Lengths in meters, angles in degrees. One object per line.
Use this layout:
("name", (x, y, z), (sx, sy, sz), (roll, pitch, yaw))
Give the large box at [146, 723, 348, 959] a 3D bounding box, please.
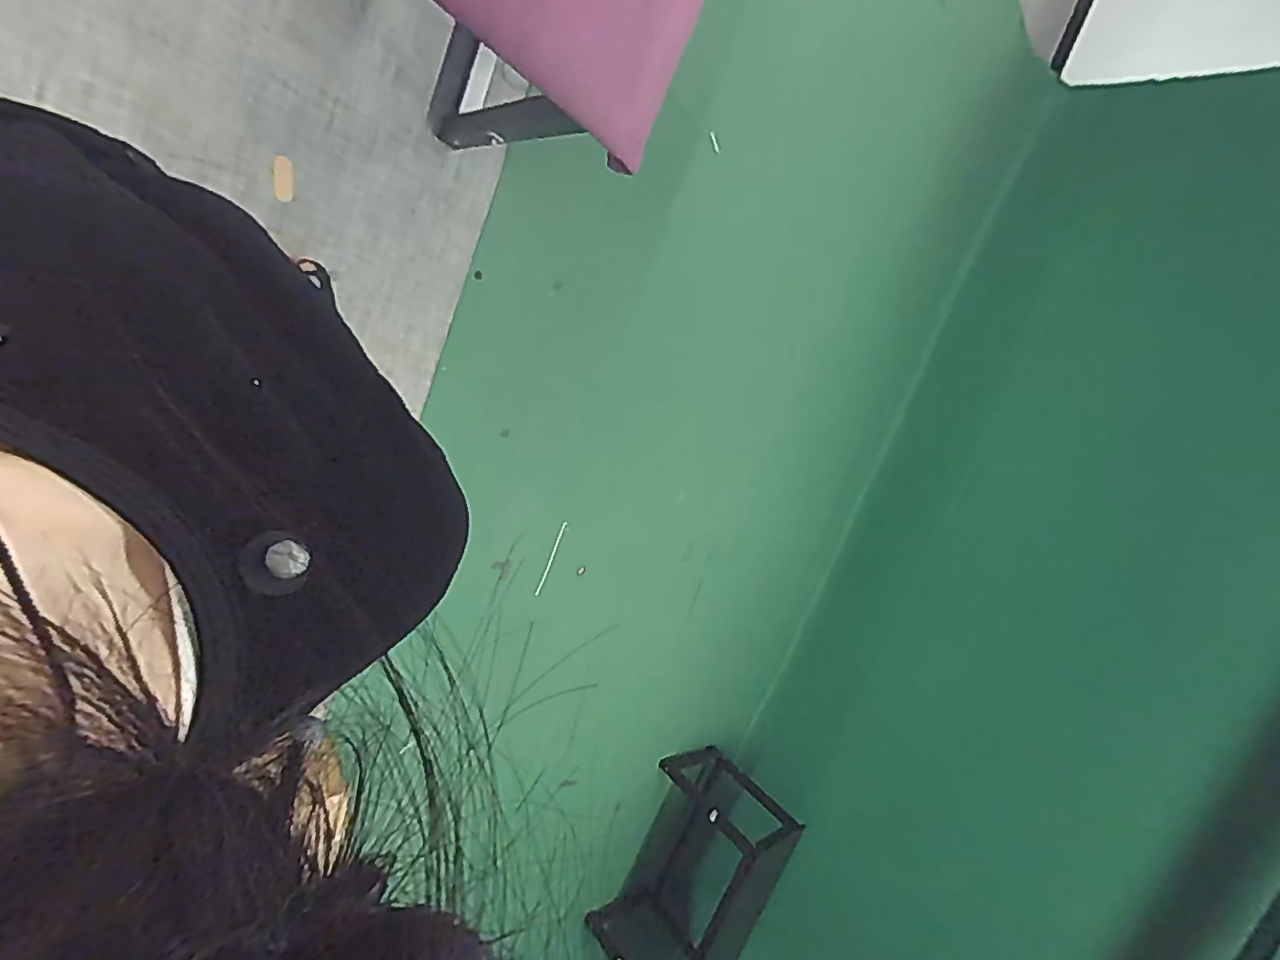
("large box", (-1.071, 0.957, 1.492), (0.408, 0.320, 0.320), (-7, 116, -43))
